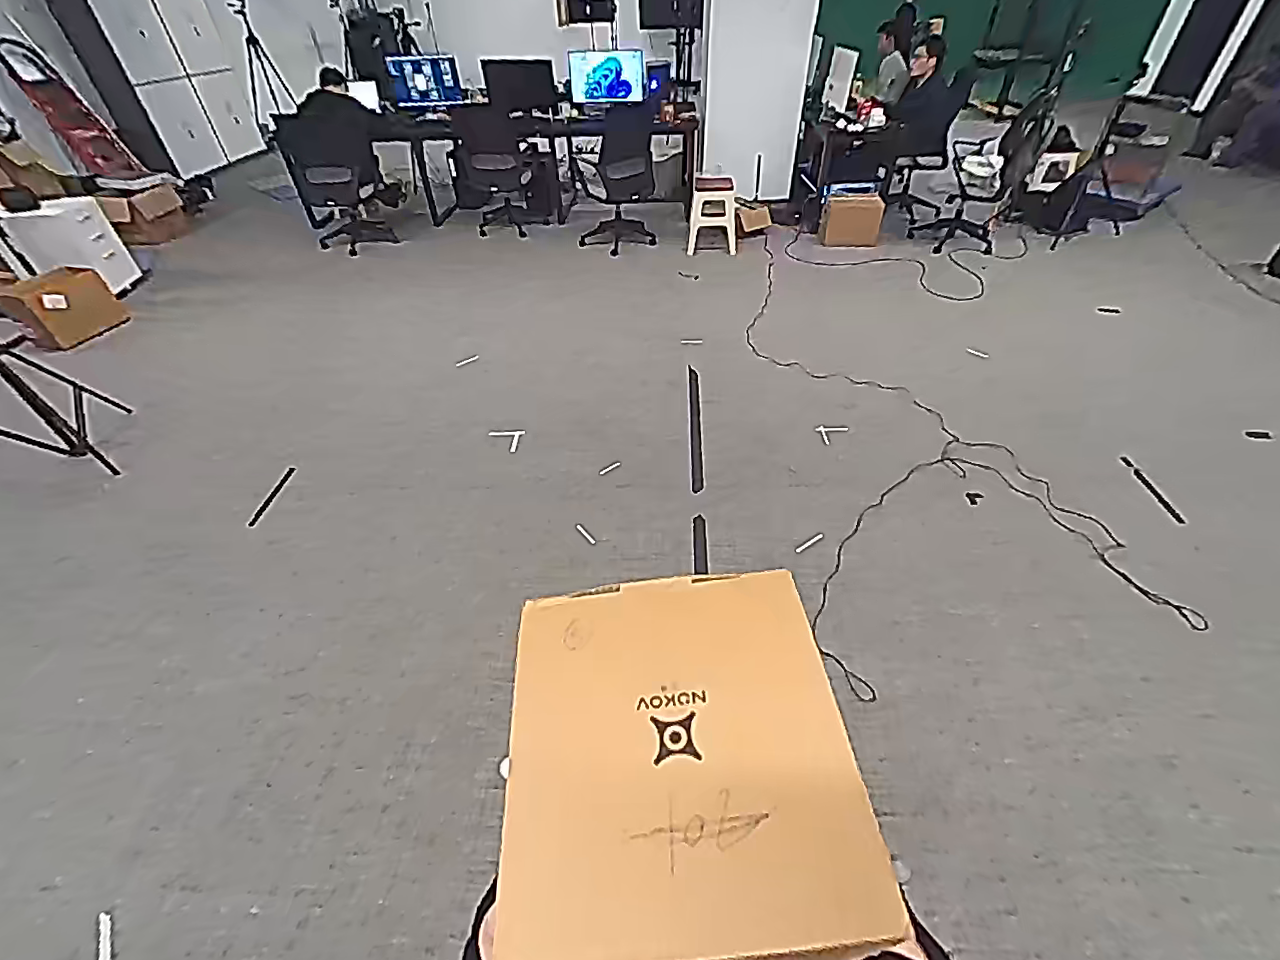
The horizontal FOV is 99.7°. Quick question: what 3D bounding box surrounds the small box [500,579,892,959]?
[{"bbox_3d":[0.023,0.187,0.336,0.168,0.176,0.179,-7,46,0],"label":"small box"}]
